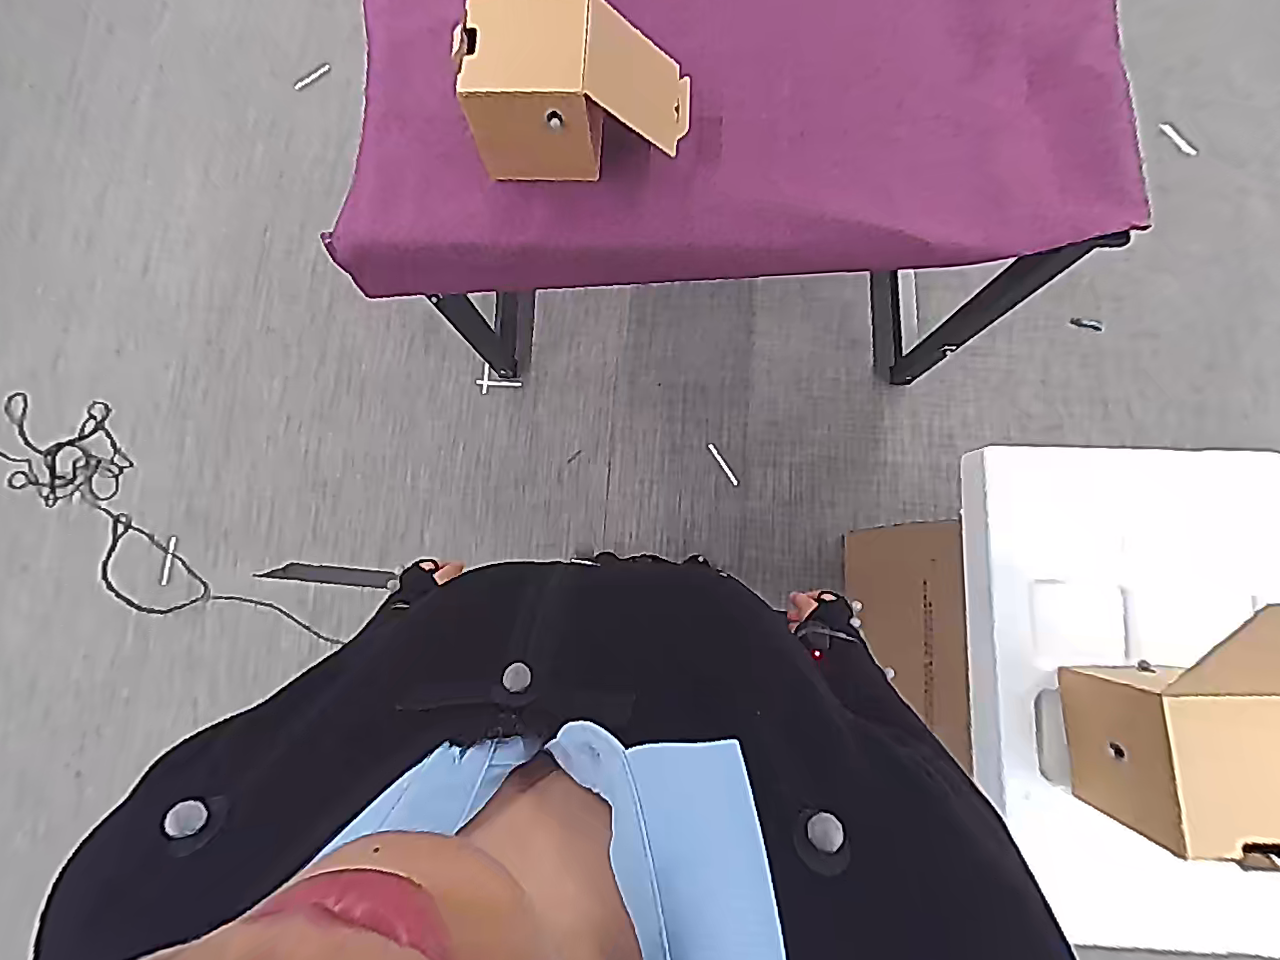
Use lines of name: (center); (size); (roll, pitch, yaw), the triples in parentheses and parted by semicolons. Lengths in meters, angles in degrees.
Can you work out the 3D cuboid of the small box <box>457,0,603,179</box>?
small box: (-0.153, -0.582, 0.814); (0.179, 0.176, 0.168); (2, 80, 4)
